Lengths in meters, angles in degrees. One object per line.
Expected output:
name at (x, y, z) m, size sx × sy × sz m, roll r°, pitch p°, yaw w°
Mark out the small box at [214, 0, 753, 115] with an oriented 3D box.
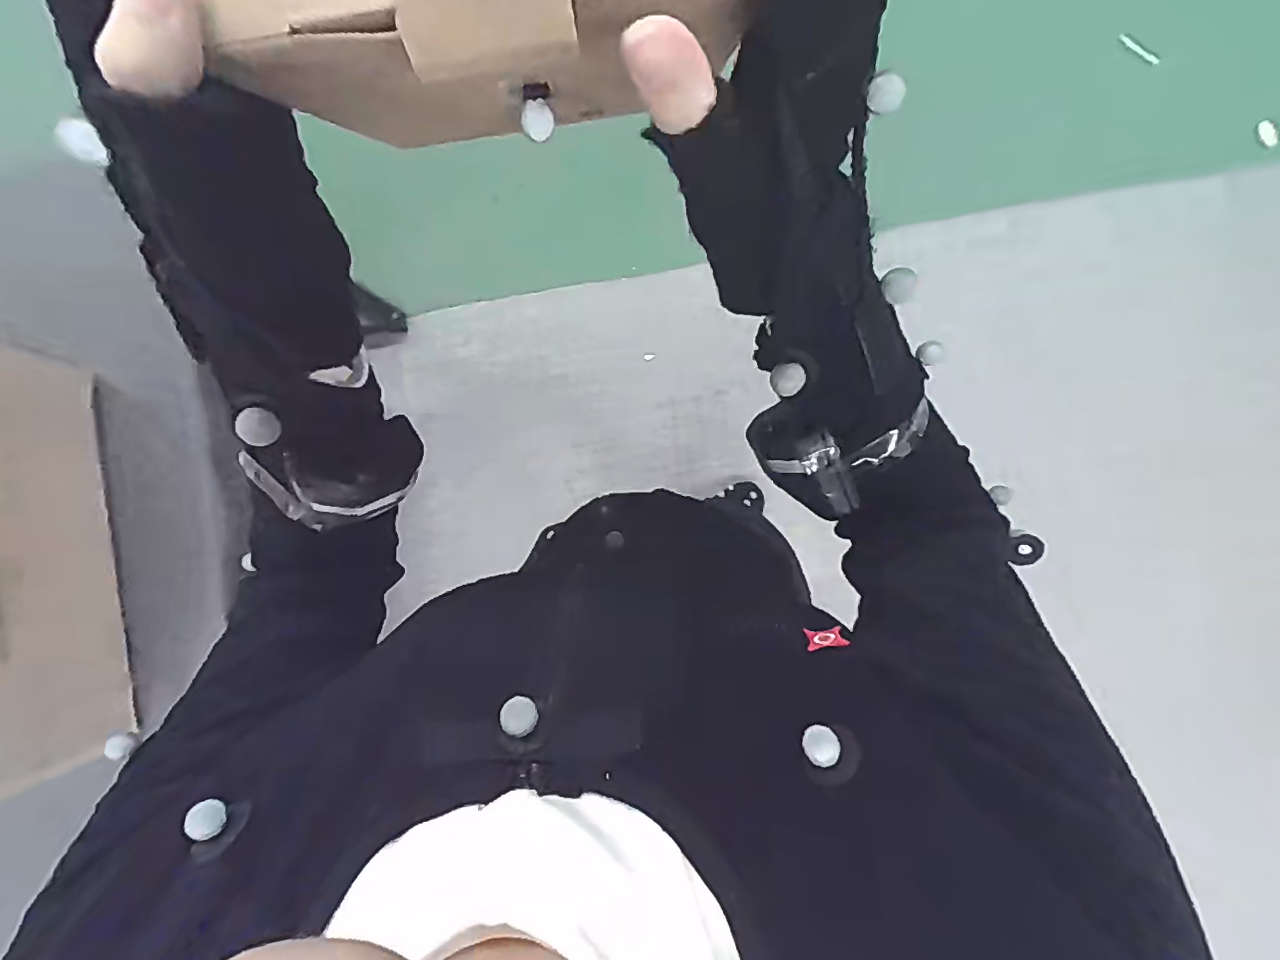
small box at (-0.046, -0.241, 0.182) m, size 0.168 × 0.176 × 0.179 m, roll -7°, pitch 116°, yaw 2°
